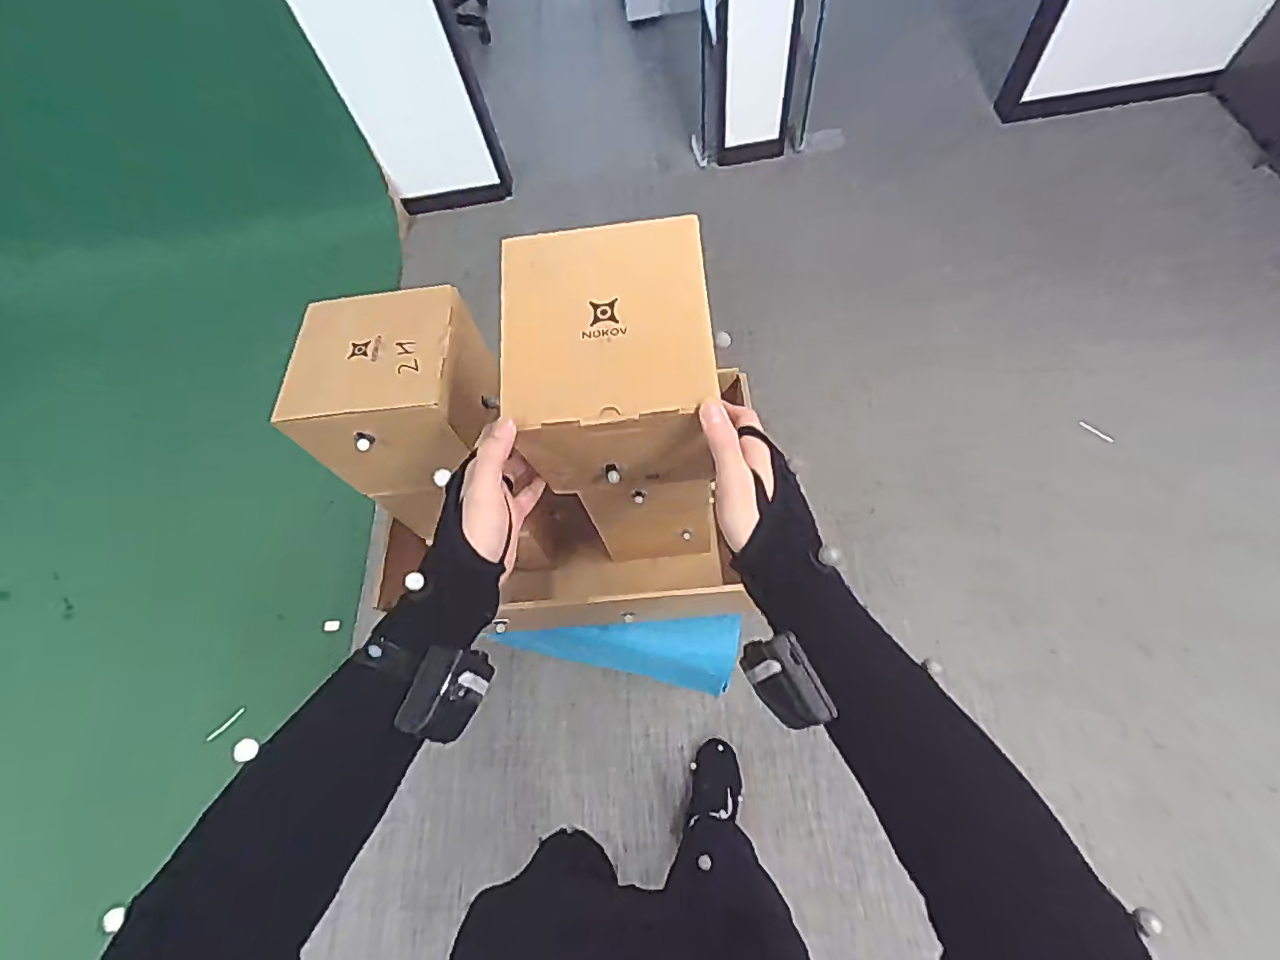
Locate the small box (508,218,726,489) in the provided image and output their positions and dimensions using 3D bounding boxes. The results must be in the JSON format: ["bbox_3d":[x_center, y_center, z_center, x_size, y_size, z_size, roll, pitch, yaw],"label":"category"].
[{"bbox_3d":[-0.017,-0.104,0.501,0.168,0.176,0.179,-6,73,4],"label":"small box"}]

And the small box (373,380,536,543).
[{"bbox_3d":[-0.256,-0.023,0.790,0.168,0.176,0.179,-5,62,4],"label":"small box"}]

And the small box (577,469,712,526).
[{"bbox_3d":[0.007,-0.046,0.764,0.179,0.176,0.168,-7,62,6],"label":"small box"}]

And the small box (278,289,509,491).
[{"bbox_3d":[-0.273,-0.096,0.644,0.179,0.176,0.168,-6,62,5],"label":"small box"}]

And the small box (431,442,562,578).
[{"bbox_3d":[-0.235,0.056,0.931,0.168,0.176,0.179,-5,61,5],"label":"small box"}]
